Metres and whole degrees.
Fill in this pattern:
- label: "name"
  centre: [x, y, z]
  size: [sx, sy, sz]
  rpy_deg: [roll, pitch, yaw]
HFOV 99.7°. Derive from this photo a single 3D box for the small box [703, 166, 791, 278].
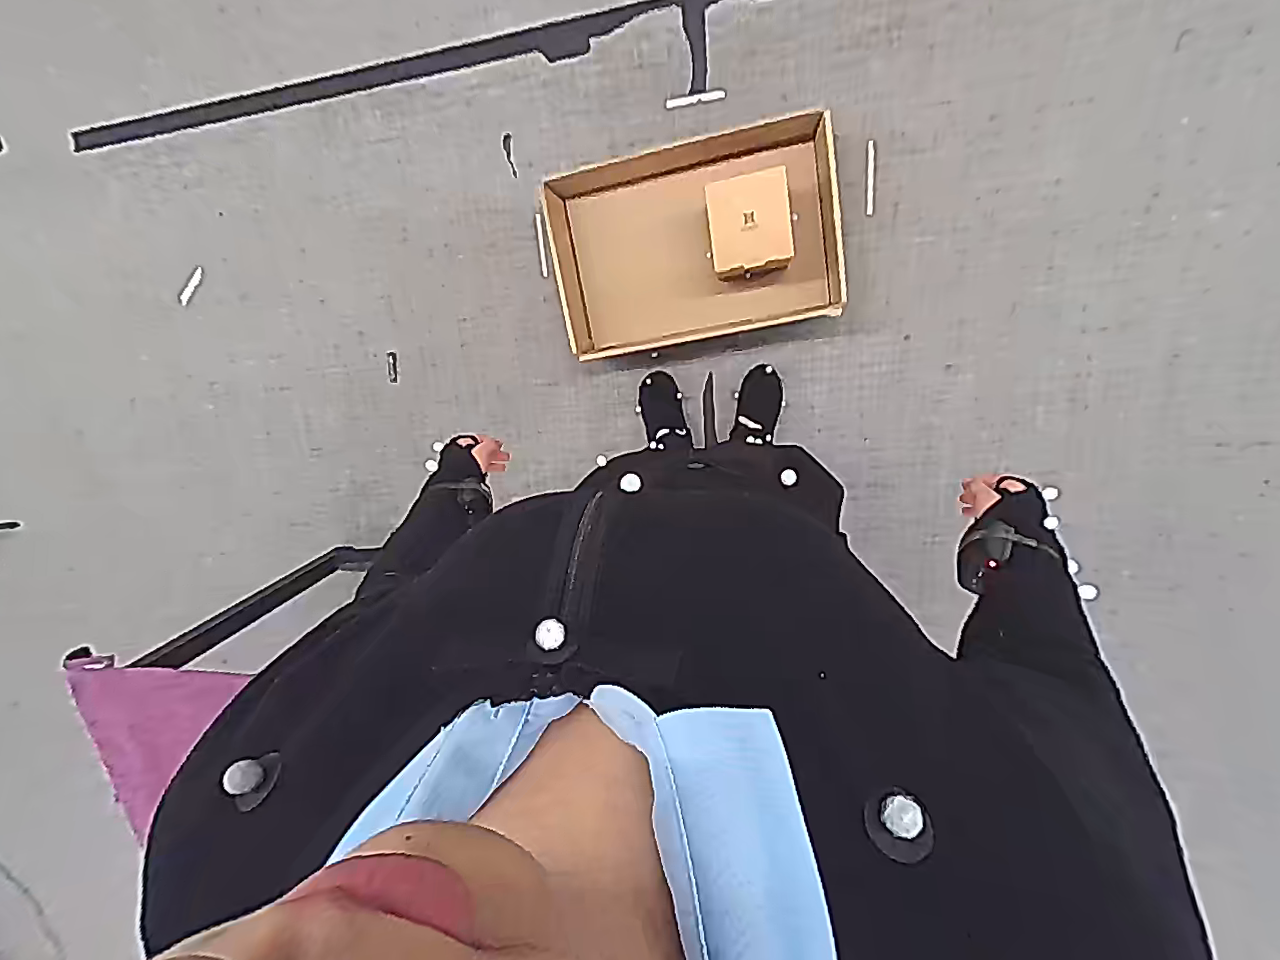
- label: "small box"
  centre: [0.233, -0.555, 1.187]
  size: [0.168, 0.176, 0.179]
  rpy_deg: [-7, 105, 12]
